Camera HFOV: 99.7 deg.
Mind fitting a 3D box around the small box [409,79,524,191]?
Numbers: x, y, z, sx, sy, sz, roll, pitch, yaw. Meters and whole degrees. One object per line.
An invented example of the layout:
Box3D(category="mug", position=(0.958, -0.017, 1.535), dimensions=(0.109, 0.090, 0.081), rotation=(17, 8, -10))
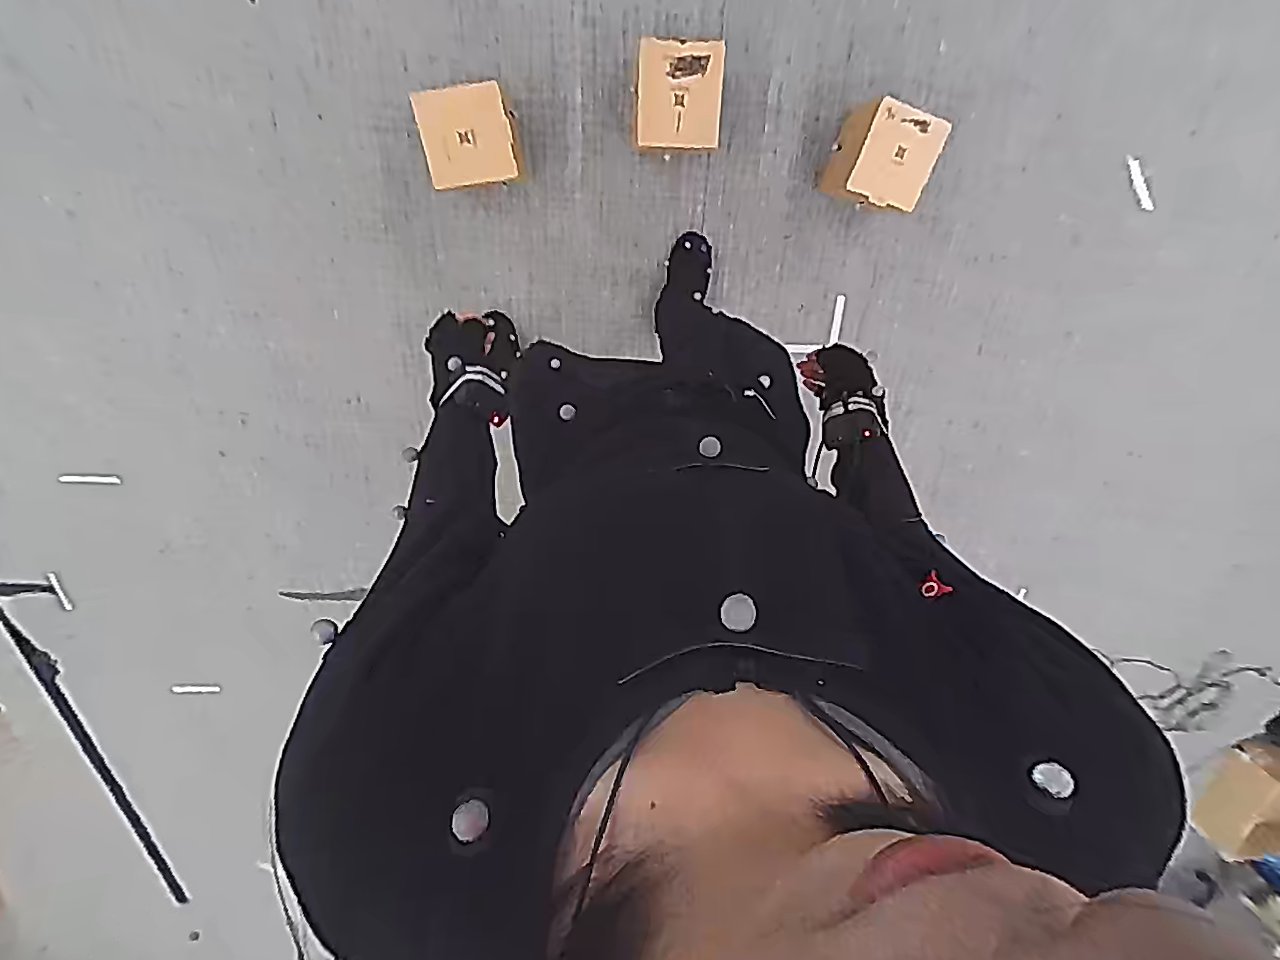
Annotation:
Box3D(category="small box", position=(-0.345, -0.707, 1.124), dimensions=(0.179, 0.176, 0.168), rotation=(-9, 116, 1))

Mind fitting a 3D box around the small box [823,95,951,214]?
Box3D(category="small box", position=(0.528, -0.708, 1.192), dimensions=(0.168, 0.176, 0.179), rotation=(14, 116, -12))

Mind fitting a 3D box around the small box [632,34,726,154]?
Box3D(category="small box", position=(0.072, -0.784, 1.114), dimensions=(0.168, 0.176, 0.179), rotation=(0, 118, -5))
